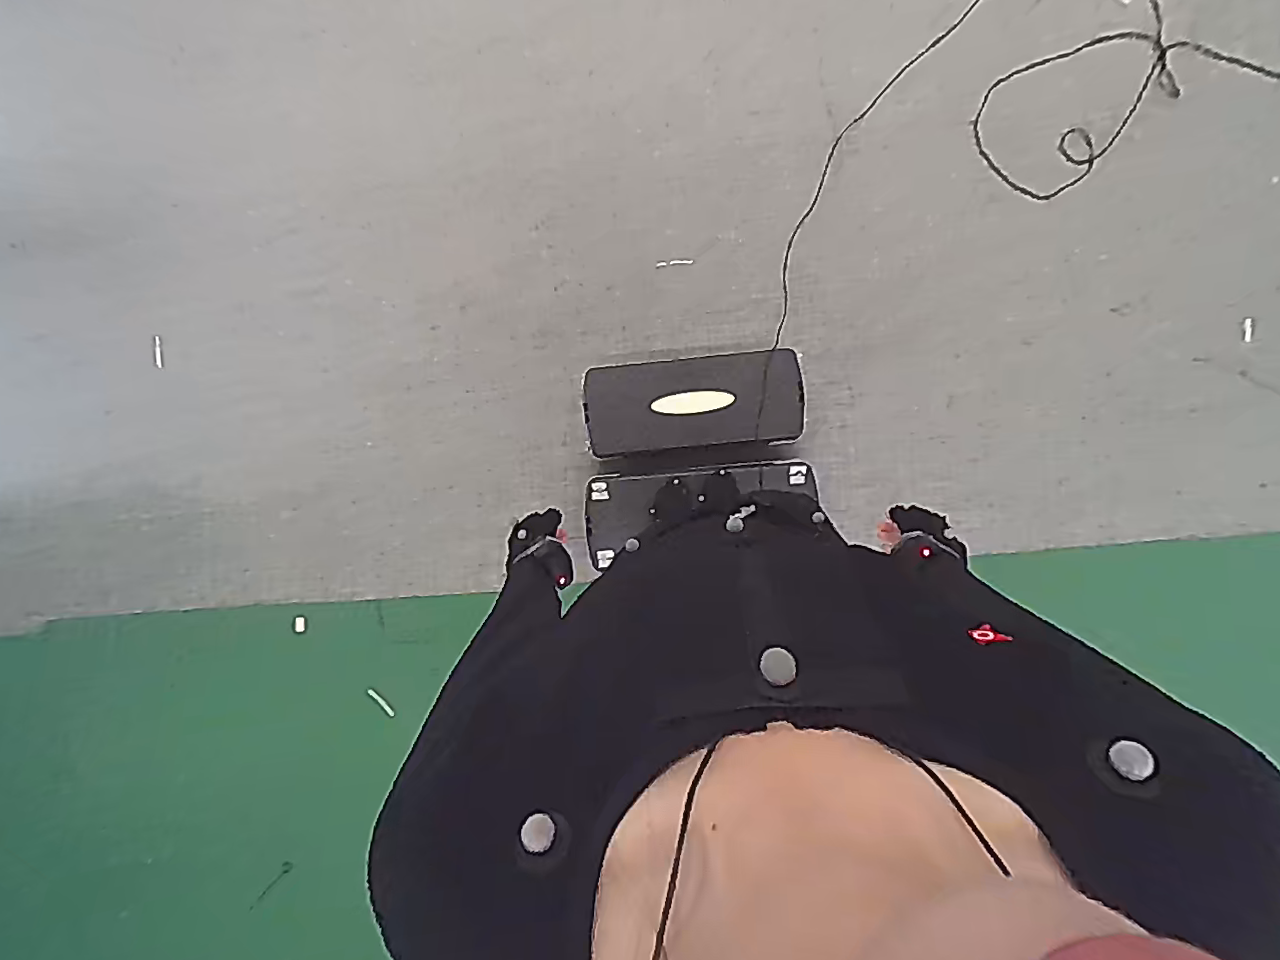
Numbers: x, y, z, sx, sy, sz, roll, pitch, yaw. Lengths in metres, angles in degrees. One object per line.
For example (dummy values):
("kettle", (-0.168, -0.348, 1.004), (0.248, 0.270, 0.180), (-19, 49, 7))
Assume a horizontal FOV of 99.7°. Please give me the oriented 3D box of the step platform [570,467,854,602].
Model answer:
("step platform", (0.173, 0.136, 1.395), (0.684, 0.204, 0.286), (-5, 89, 2))
